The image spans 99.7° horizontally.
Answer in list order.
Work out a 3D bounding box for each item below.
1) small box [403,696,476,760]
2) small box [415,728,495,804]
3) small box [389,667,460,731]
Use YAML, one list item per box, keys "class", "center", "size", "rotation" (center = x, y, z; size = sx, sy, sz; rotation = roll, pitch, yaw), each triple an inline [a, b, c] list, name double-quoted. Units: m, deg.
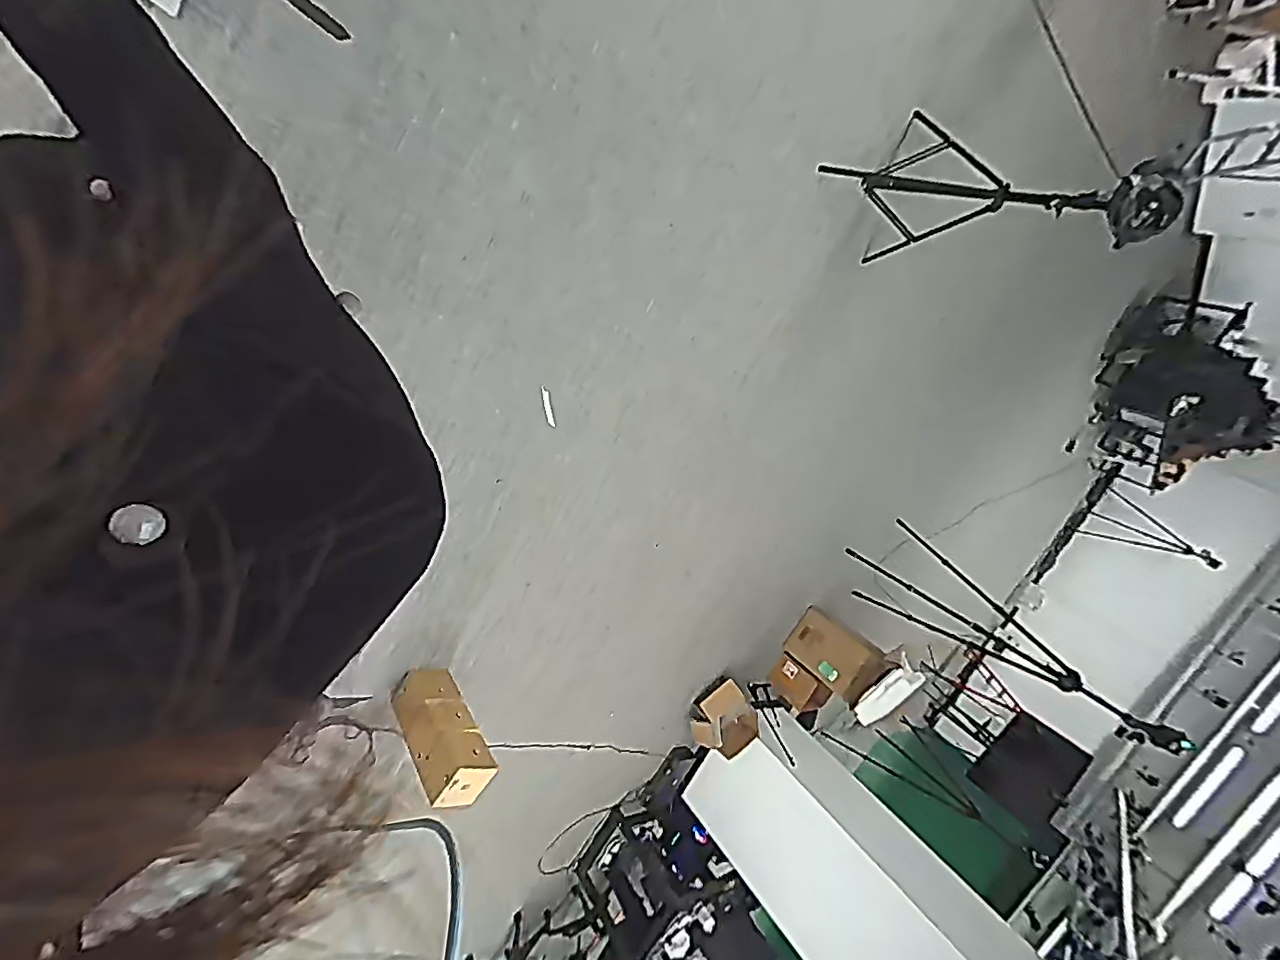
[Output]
- class: "small box"
  center: [-0.747, 0.923, 2.002]
  size: [0.168, 0.176, 0.179]
  rotation: [25, 99, -48]
- class: "small box"
  center: [-0.649, 0.995, 1.891]
  size: [0.168, 0.176, 0.179]
  rotation: [-53, 139, 0]
- class: "small box"
  center: [-0.843, 0.850, 2.110]
  size: [0.179, 0.176, 0.168]
  rotation: [23, 100, -47]
